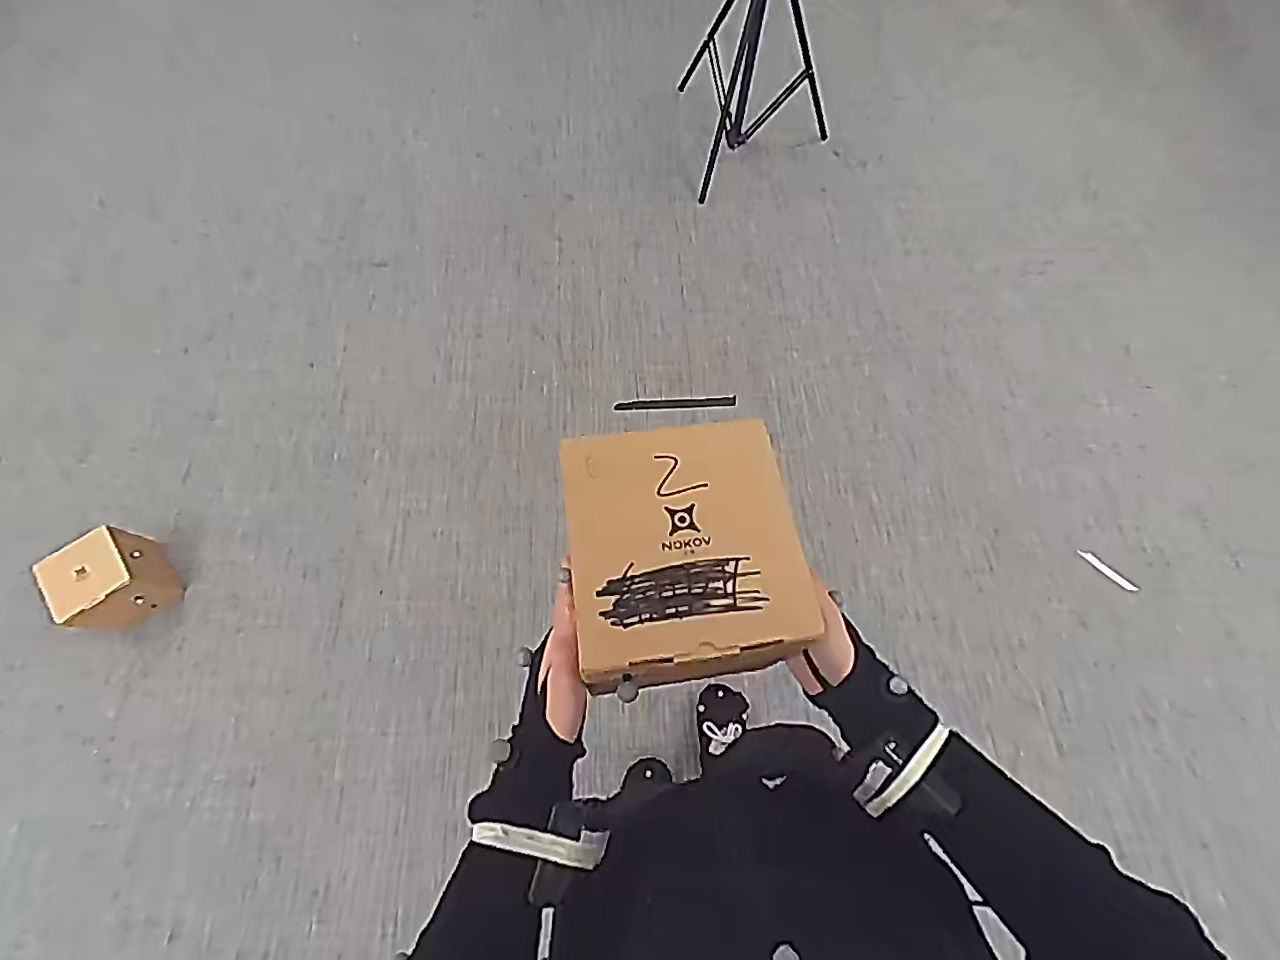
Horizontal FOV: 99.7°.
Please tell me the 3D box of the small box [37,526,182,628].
[{"bbox_3d":[-1.283,0.245,1.321,0.168,0.176,0.179,-37,72,-15],"label":"small box"}]
